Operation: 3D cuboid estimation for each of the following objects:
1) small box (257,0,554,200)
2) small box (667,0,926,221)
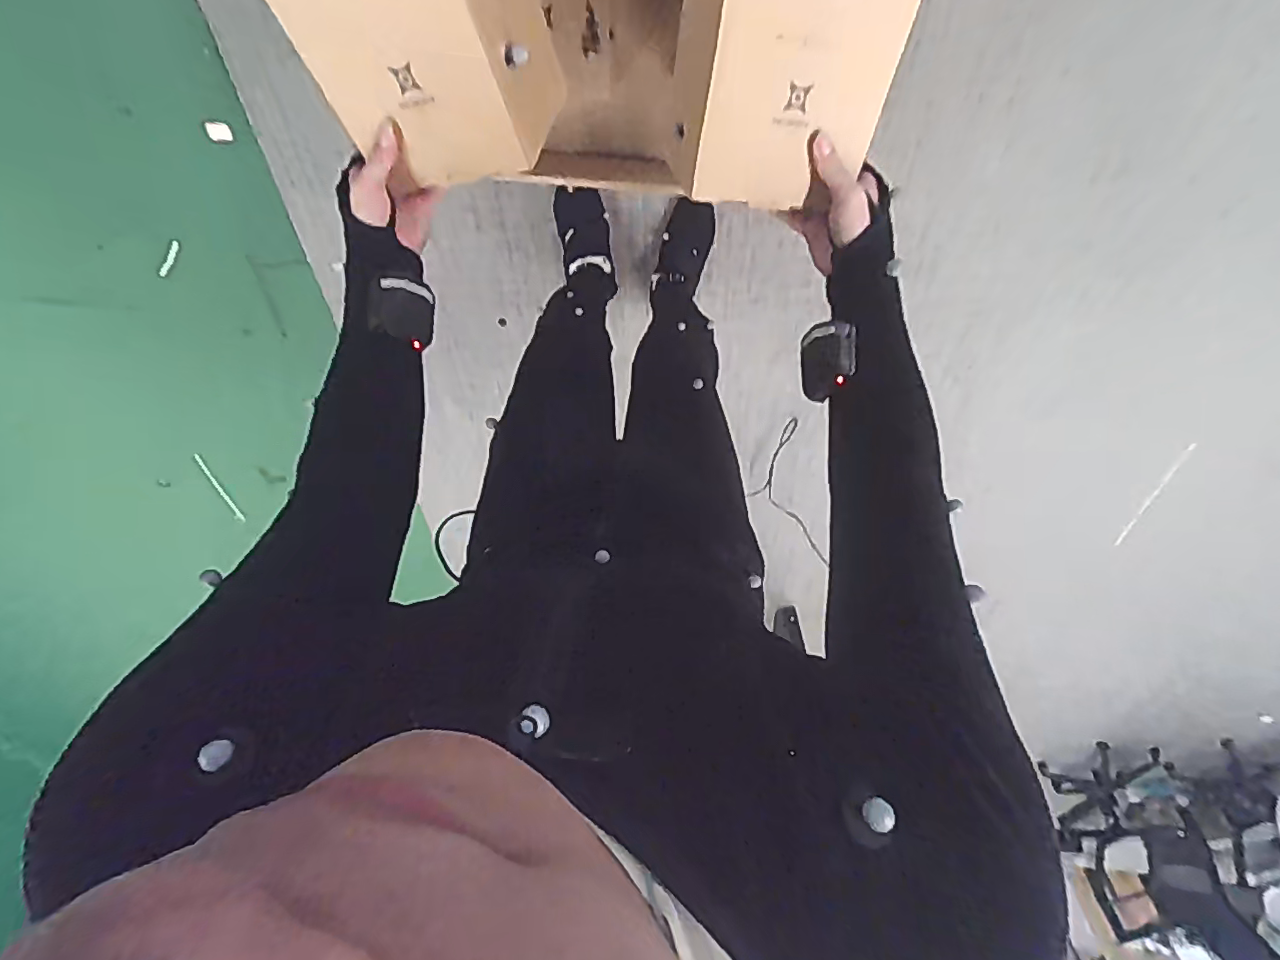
[{"bbox_3d":[-0.194,-0.401,0.502,0.168,0.176,0.179,-2,147,14],"label":"small box"},{"bbox_3d":[0.126,-0.378,0.524,0.168,0.176,0.179,0,134,-11],"label":"small box"}]
